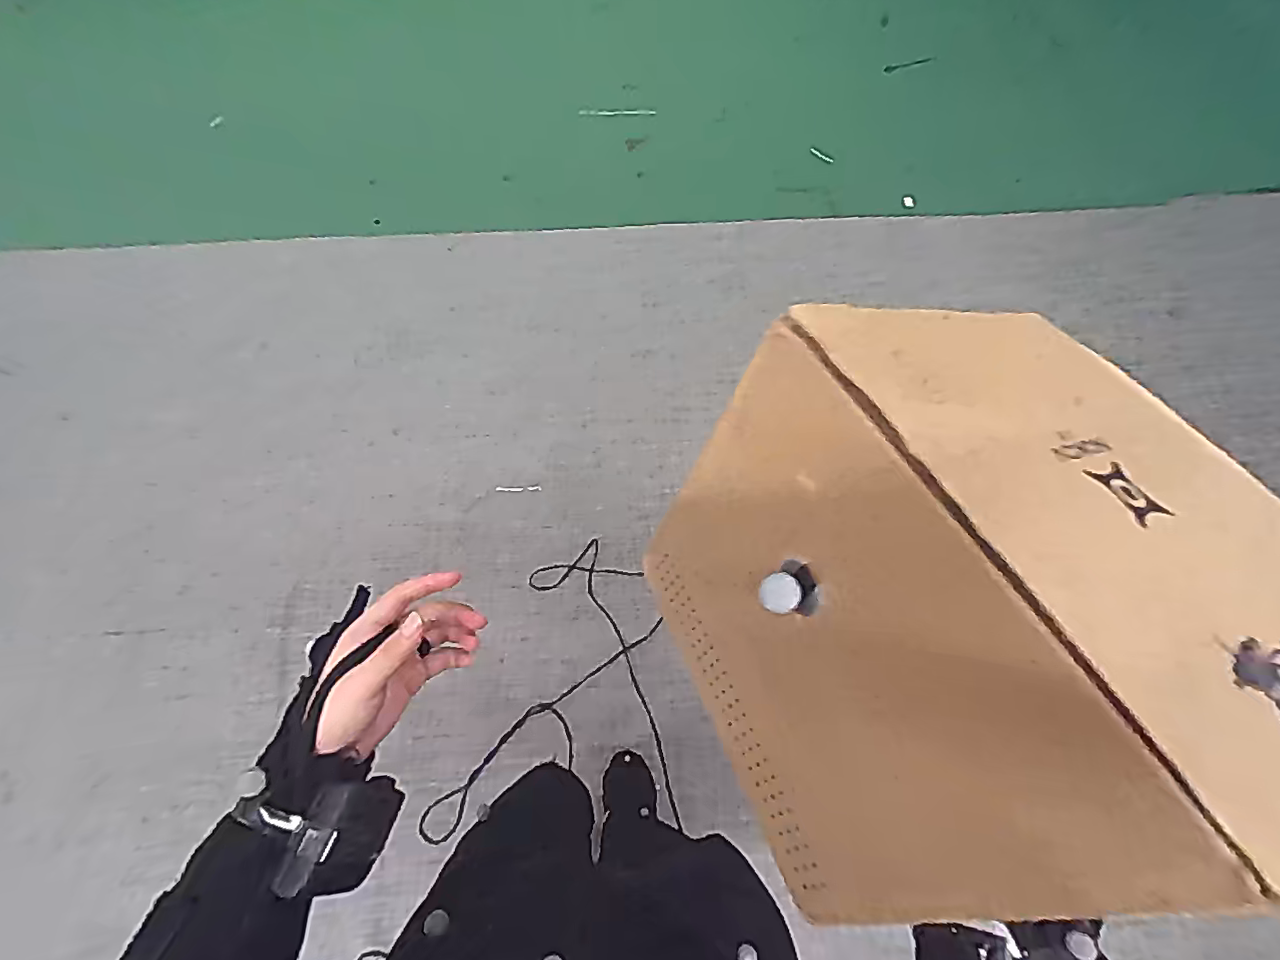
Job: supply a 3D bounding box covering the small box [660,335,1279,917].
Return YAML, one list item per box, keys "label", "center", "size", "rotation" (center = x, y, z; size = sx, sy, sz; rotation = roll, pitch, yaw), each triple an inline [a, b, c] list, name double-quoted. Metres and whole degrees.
- label: "small box"
  center: [0.130, 0.056, 0.244]
  size: [0.168, 0.176, 0.179]
  rotation: [-10, 55, -28]
